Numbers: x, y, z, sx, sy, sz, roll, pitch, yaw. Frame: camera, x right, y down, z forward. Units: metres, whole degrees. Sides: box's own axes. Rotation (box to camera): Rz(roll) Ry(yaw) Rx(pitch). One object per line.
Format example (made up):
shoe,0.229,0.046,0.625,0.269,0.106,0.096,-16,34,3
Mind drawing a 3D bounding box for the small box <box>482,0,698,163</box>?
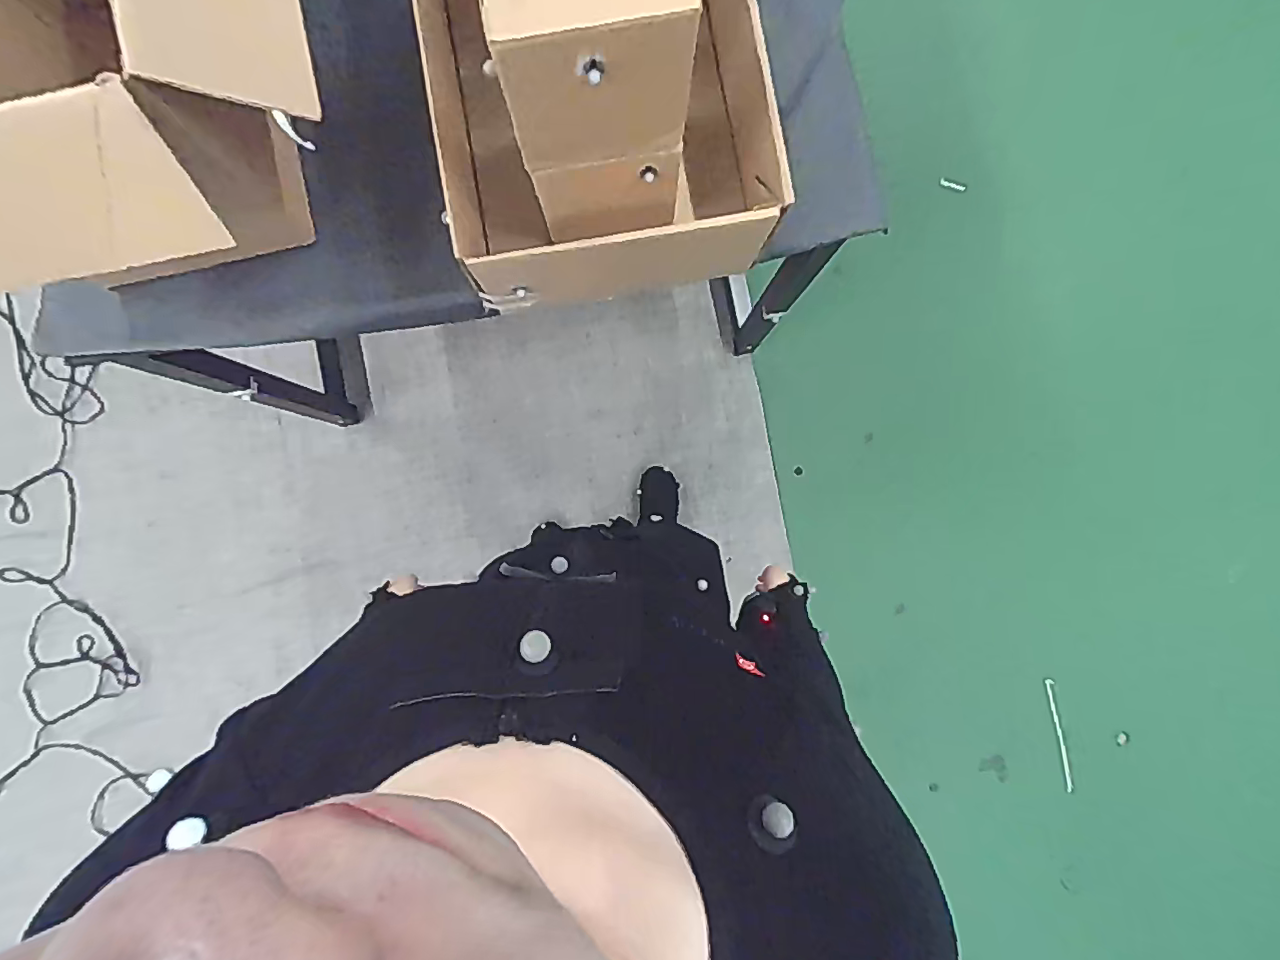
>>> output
small box,-0.052,-0.440,0.523,0.179,0.176,0.168,-10,89,-3
